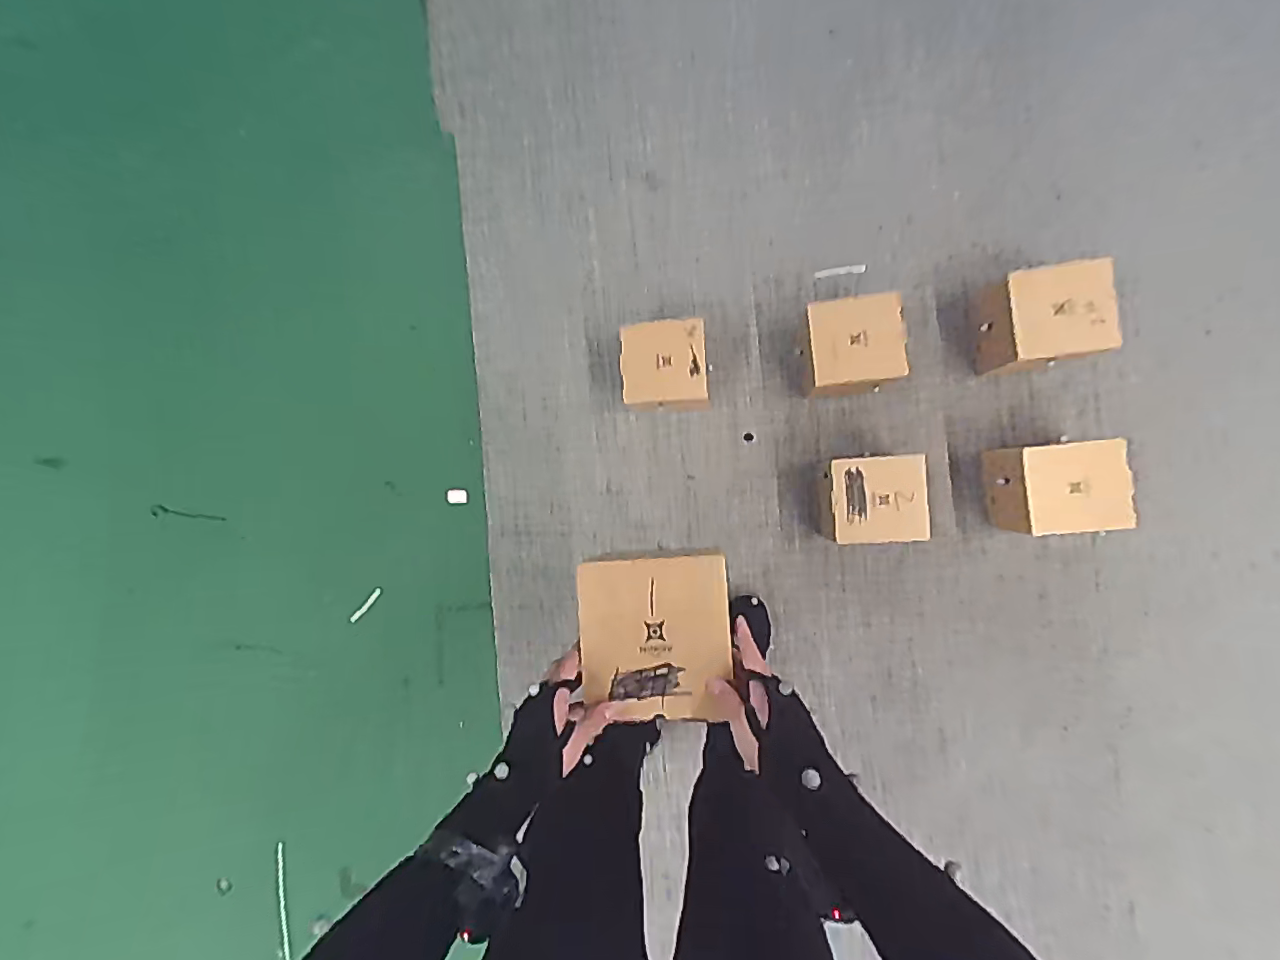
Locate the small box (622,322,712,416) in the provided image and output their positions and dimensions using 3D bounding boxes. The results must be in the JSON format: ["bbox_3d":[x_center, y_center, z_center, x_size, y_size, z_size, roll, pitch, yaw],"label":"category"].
[{"bbox_3d":[0.063,-0.233,1.176,0.179,0.176,0.168,-2,89,10],"label":"small box"}]

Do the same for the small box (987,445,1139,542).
[{"bbox_3d":[0.808,0.029,1.056,0.179,0.176,0.168,-6,88,8],"label":"small box"}]

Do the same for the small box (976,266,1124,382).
[{"bbox_3d":[0.787,-0.296,1.062,0.179,0.176,0.168,-6,89,9],"label":"small box"}]

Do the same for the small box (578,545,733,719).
[{"bbox_3d":[0.026,0.174,0.662,0.168,0.176,0.179,-3,85,7],"label":"small box"}]

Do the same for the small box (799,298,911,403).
[{"bbox_3d":[0.435,-0.259,1.118,0.179,0.176,0.168,-5,87,9],"label":"small box"}]
